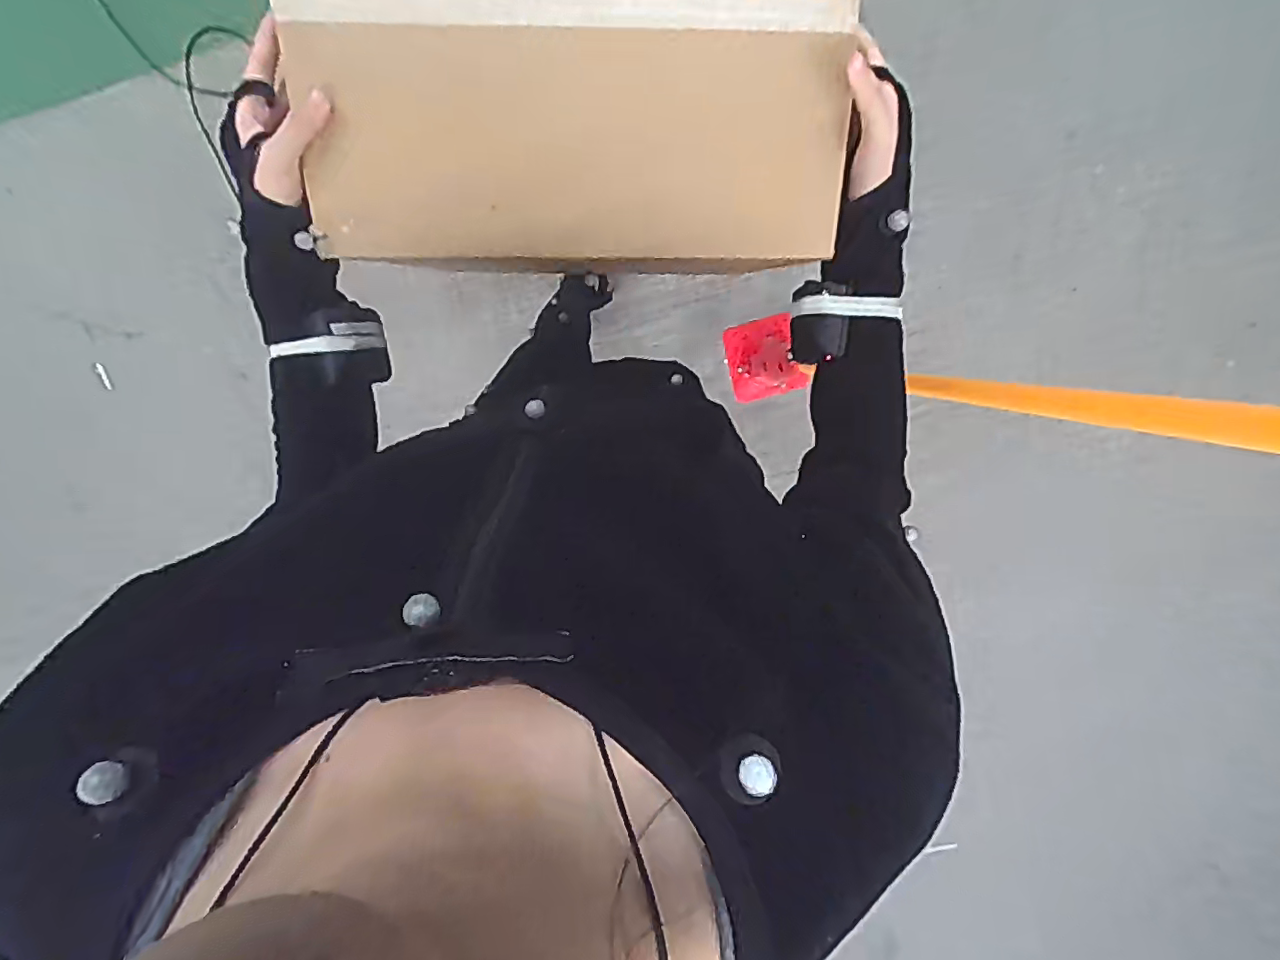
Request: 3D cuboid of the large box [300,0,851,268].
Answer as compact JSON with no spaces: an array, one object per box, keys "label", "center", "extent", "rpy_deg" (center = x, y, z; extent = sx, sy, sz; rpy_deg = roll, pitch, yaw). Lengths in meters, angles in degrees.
[{"label":"large box","center":[-0.048,-0.377,0.535],"extent":[0.408,0.320,0.320],"rpy_deg":[0,109,-3]}]
